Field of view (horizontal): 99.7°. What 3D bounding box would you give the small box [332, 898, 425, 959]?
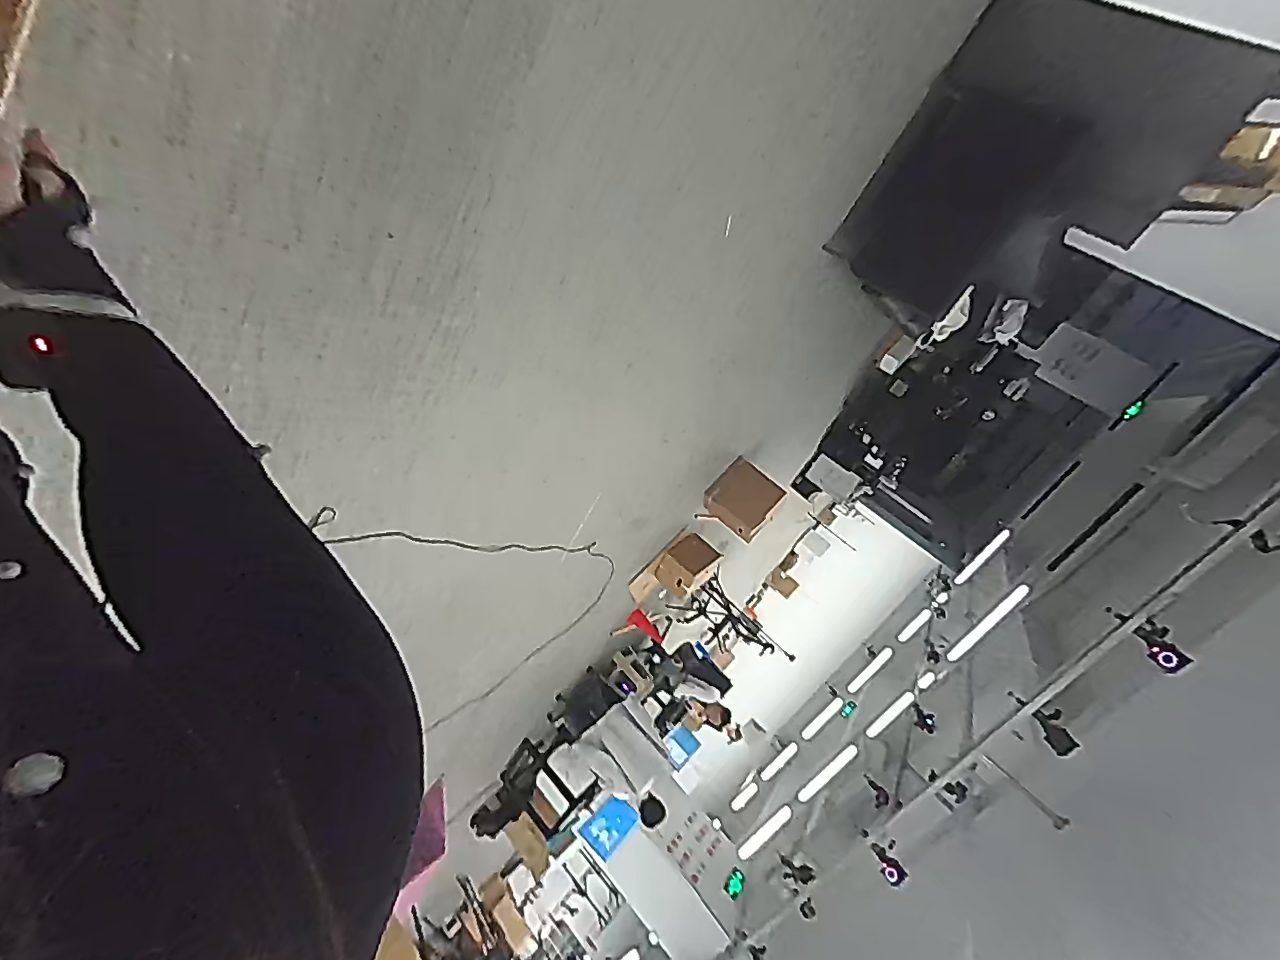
[{"bbox_3d":[-0.779,1.406,1.600,0.179,0.176,0.168,-10,138,-57],"label":"small box"}]
